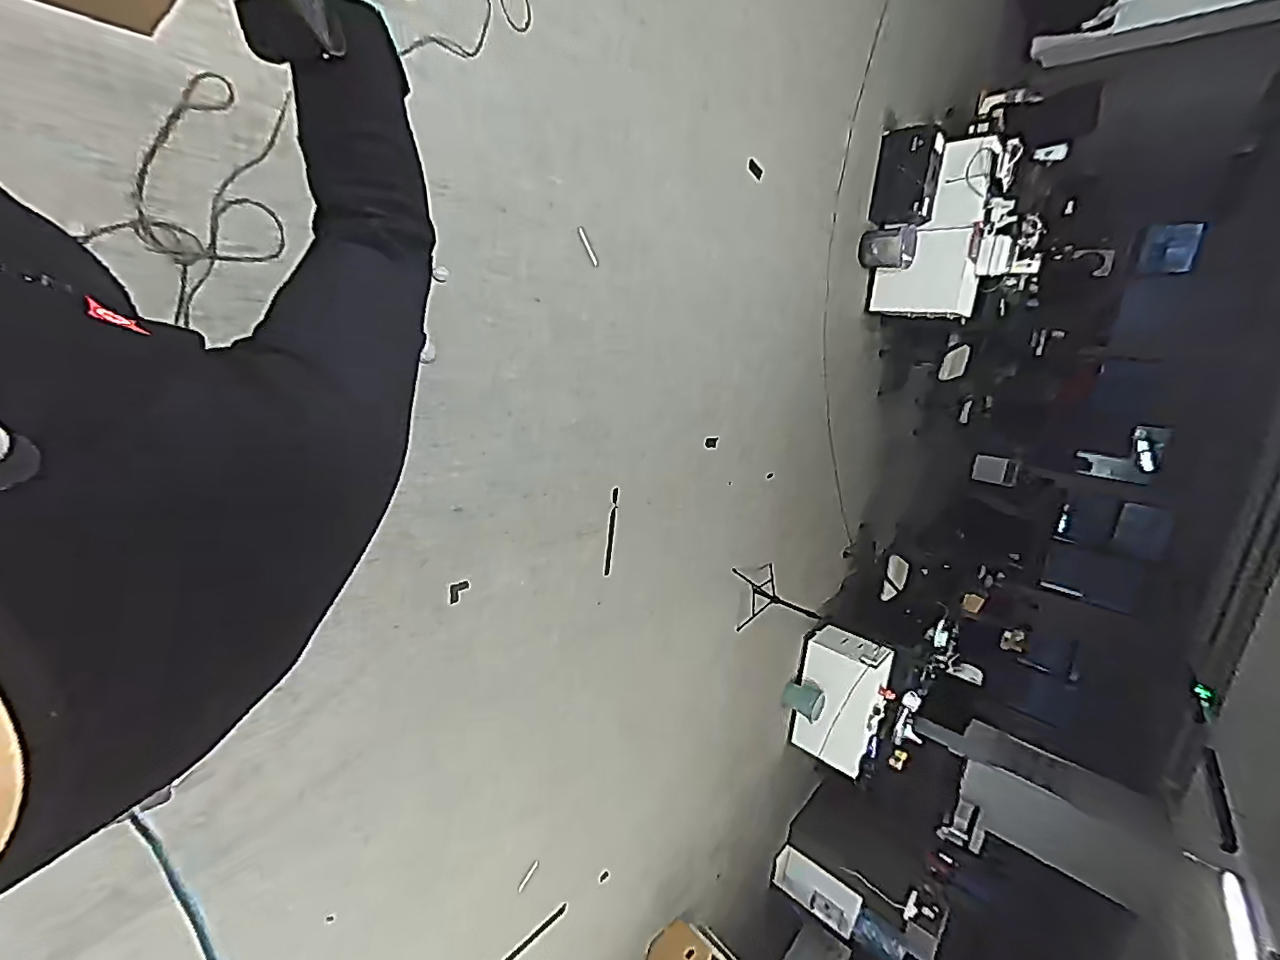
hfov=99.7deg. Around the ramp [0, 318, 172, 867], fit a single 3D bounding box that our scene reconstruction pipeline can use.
[{"bbox_3d":[-1.209,0.221,0.933,0.509,0.206,0.991,-13,113,-46],"label":"ramp"}]
